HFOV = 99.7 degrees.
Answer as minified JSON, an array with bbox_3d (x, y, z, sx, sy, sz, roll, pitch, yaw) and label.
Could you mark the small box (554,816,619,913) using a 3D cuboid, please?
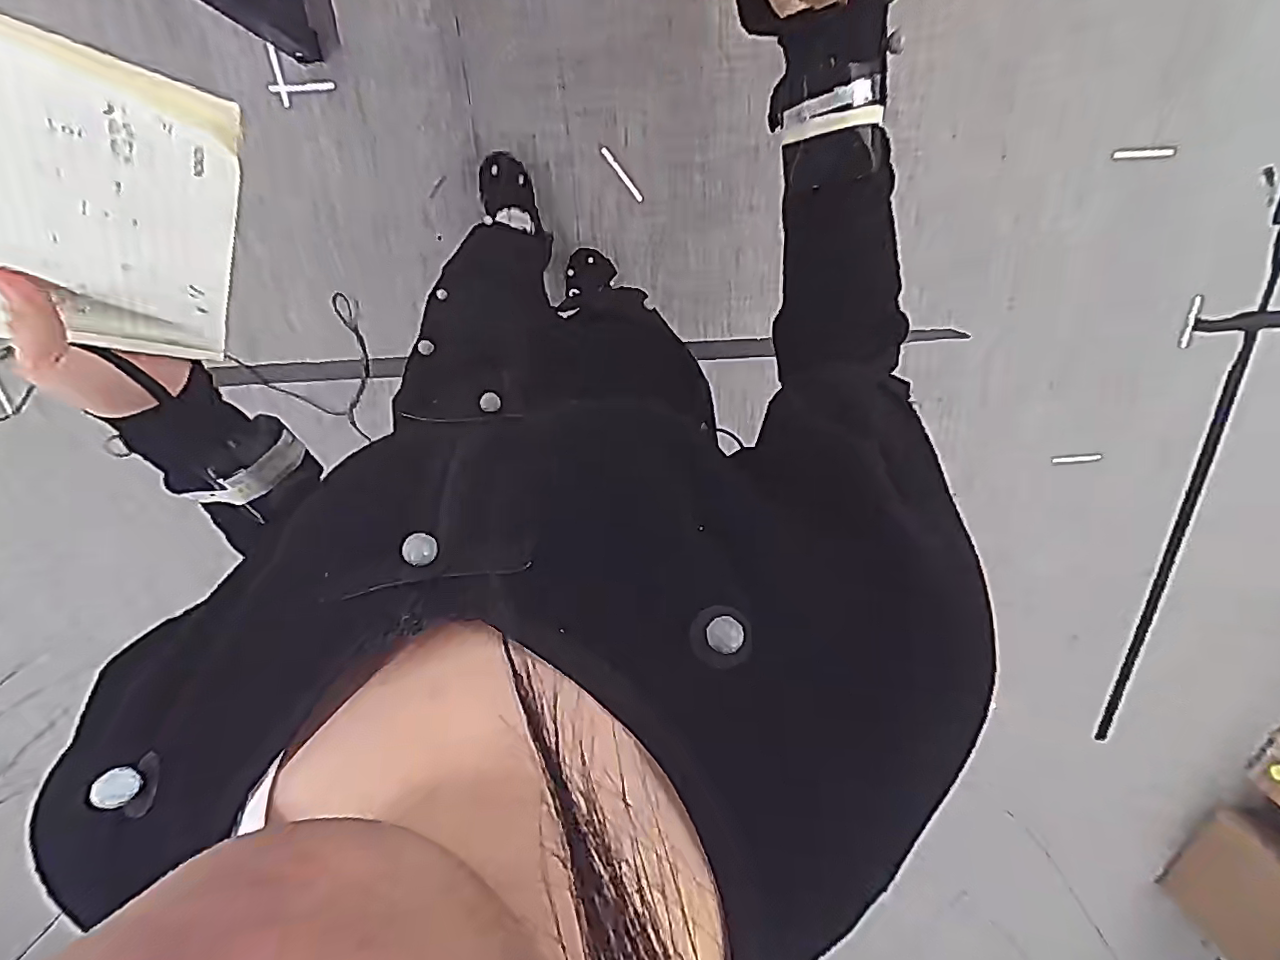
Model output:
[{"bbox_3d":[-0.156,1.125,1.596,0.168,0.176,0.179,-7,113,-1],"label":"small box"}]
